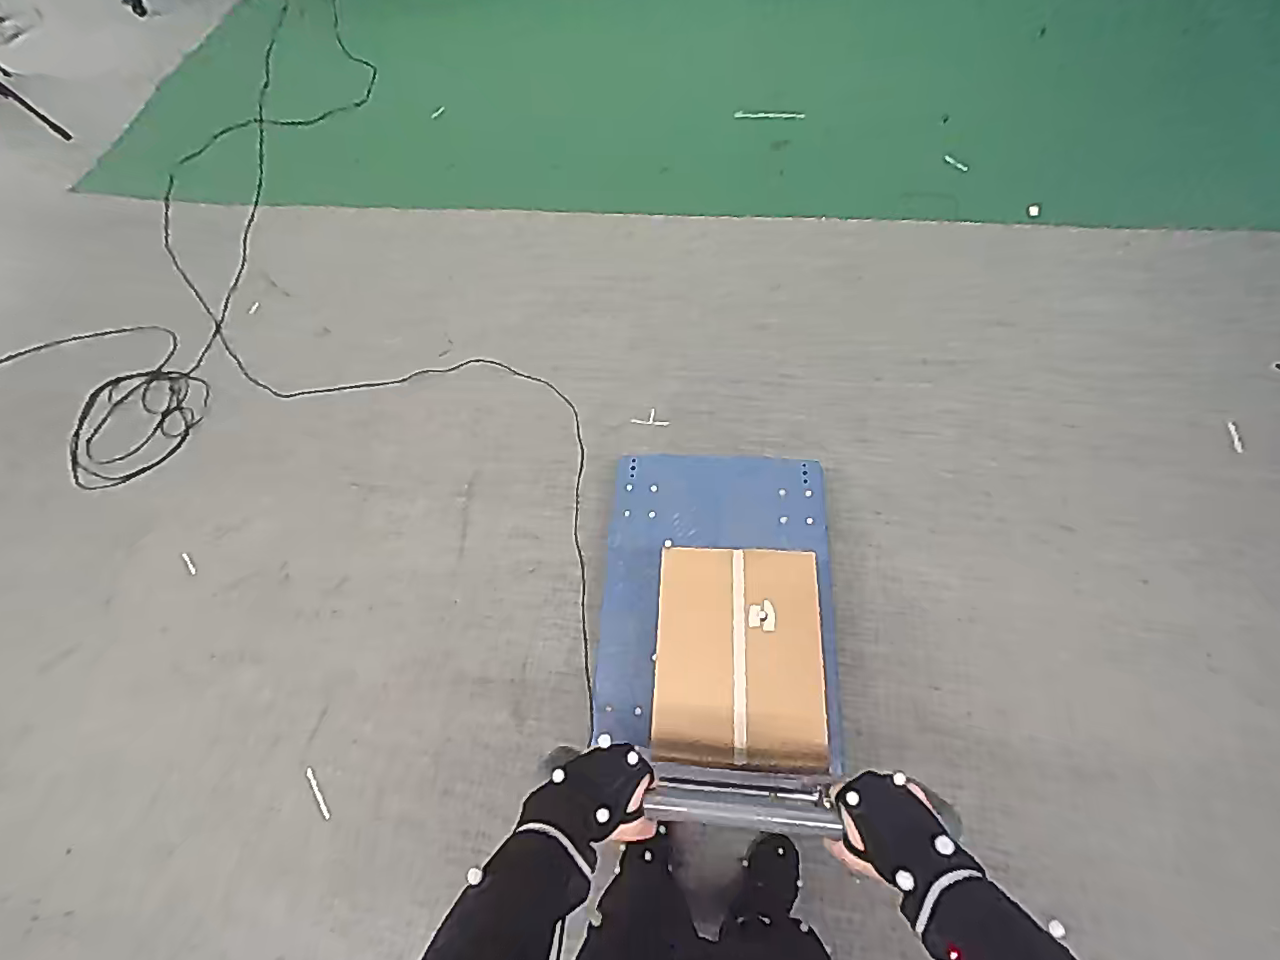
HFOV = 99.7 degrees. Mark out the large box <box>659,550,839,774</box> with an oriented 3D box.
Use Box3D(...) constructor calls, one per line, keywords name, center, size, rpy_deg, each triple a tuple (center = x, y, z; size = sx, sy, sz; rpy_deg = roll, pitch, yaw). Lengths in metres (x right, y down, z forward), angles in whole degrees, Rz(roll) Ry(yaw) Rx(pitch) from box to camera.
Box3D(name="large box", center=(0.211, 0.390, 1.150), size=(0.320, 0.320, 0.408), rpy_deg=(1, 63, 6))
